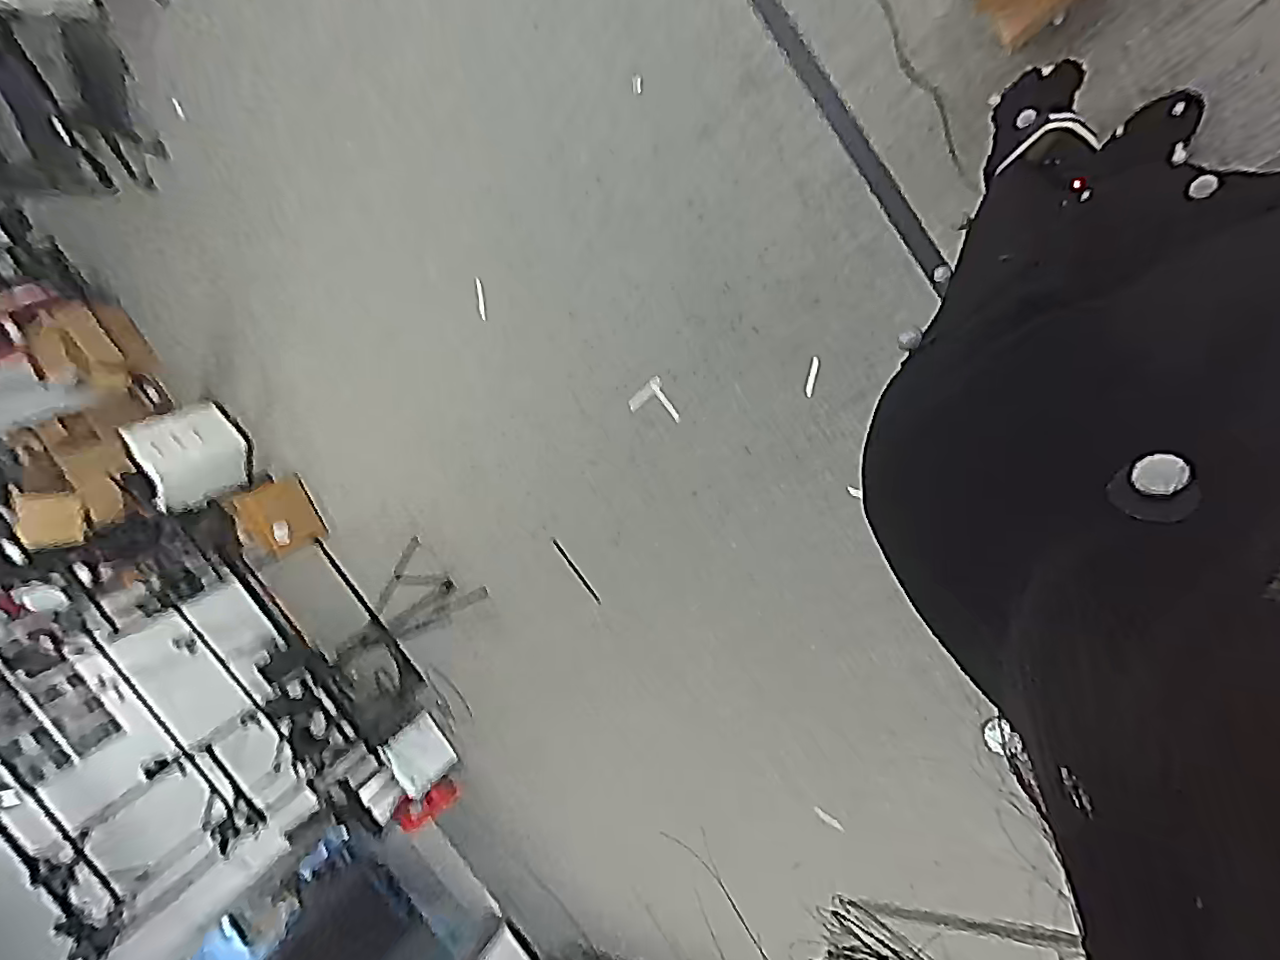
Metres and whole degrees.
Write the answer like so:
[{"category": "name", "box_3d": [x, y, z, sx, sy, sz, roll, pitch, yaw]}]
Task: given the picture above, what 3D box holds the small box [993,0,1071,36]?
[{"category": "small box", "box_3d": [0.678, -0.894, 0.904, 0.168, 0.176, 0.179, -31, 96, 44]}]
